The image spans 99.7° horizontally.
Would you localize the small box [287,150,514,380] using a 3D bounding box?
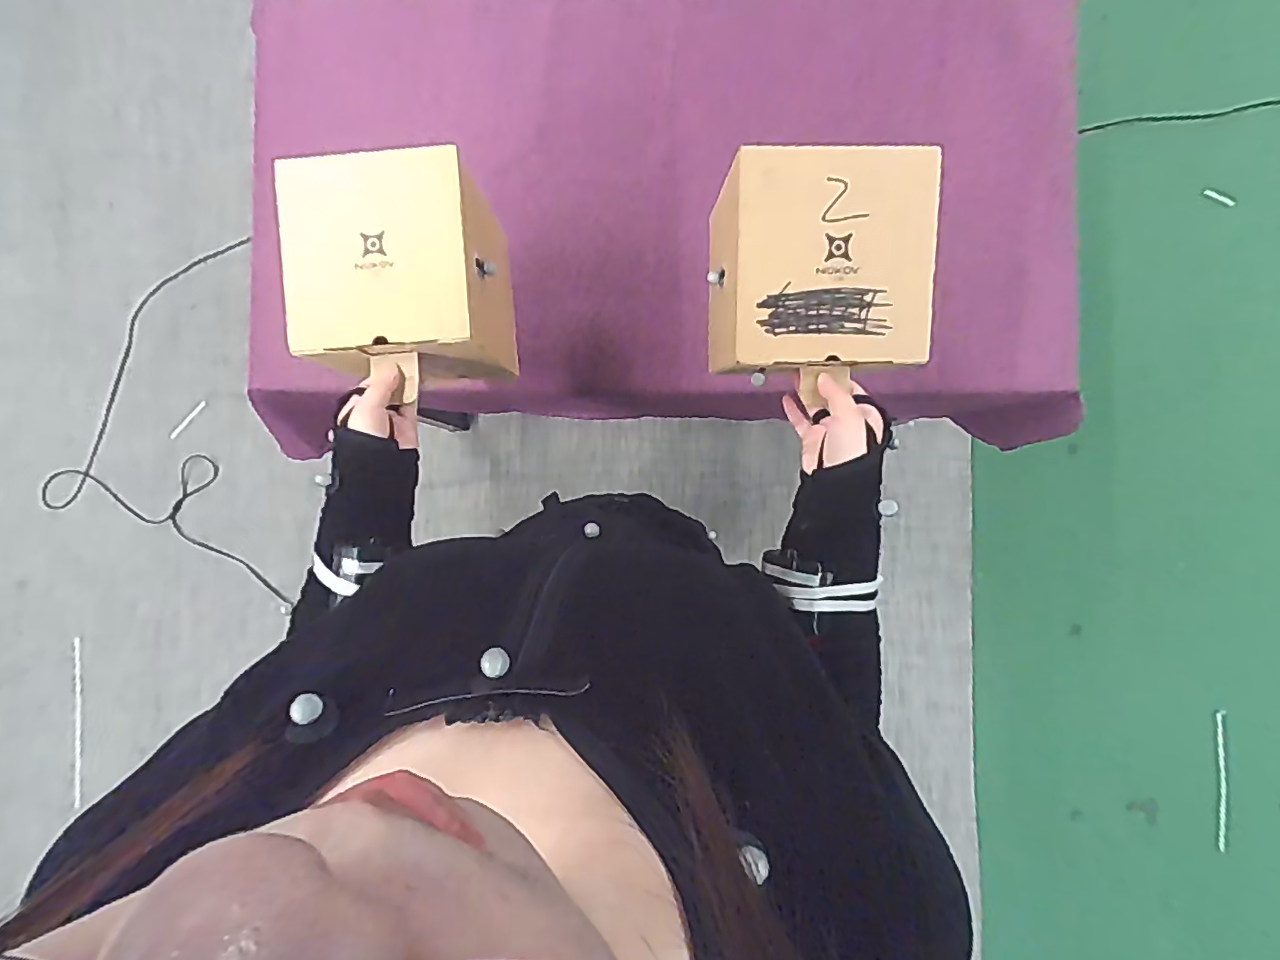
[{"bbox_3d":[-0.238,-0.213,0.575,0.168,0.176,0.179,-4,91,1],"label":"small box"}]
